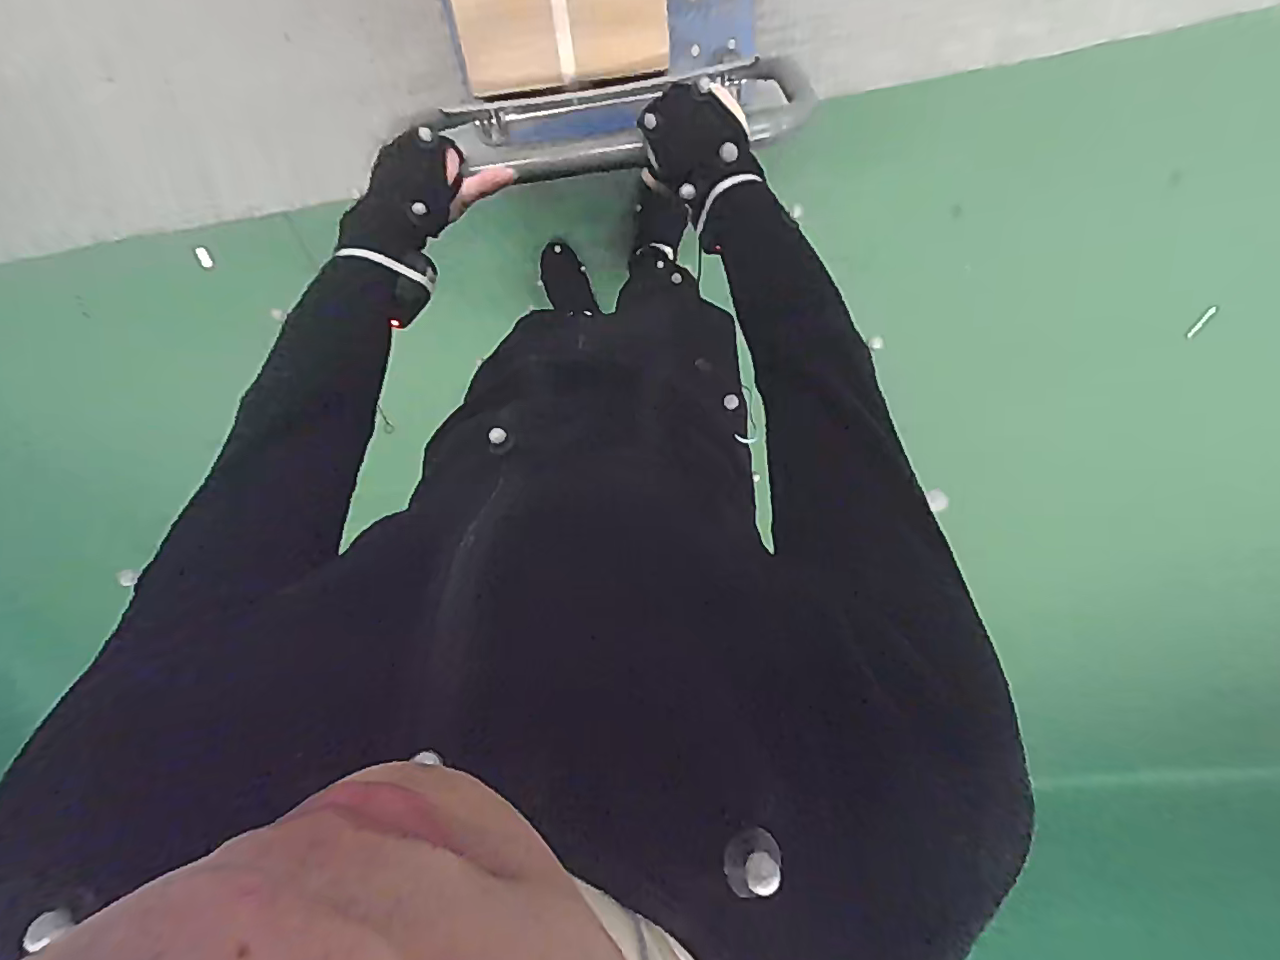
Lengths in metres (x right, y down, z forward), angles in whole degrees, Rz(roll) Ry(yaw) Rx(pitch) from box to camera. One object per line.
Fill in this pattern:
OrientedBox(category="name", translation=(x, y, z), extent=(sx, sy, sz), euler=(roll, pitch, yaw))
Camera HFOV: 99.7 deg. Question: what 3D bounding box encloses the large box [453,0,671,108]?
OrientedBox(category="large box", translation=(-0.126, -0.861, 0.858), extent=(0.320, 0.320, 0.408), euler=(-5, 122, 4))
